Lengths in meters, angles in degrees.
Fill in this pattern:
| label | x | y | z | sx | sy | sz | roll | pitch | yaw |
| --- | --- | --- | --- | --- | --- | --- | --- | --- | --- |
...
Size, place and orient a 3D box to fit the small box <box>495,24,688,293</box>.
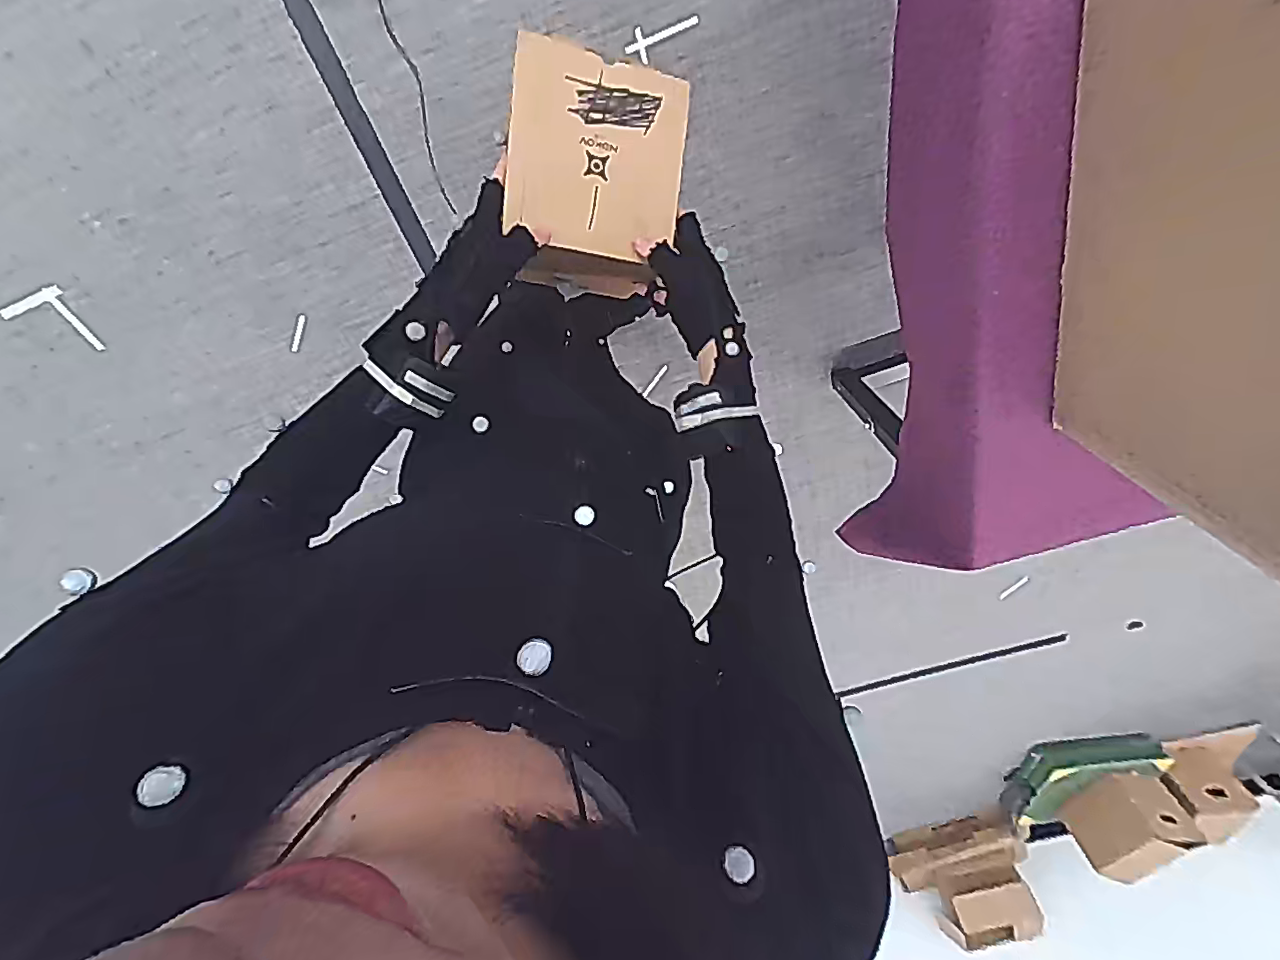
| label | x | y | z | sx | sy | sz | roll | pitch | yaw |
| --- | --- | --- | --- | --- | --- | --- | --- | --- | --- |
| small box | -0.062 | -0.316 | 0.576 | 0.168 | 0.176 | 0.179 | 4 | 97 | -17 |
